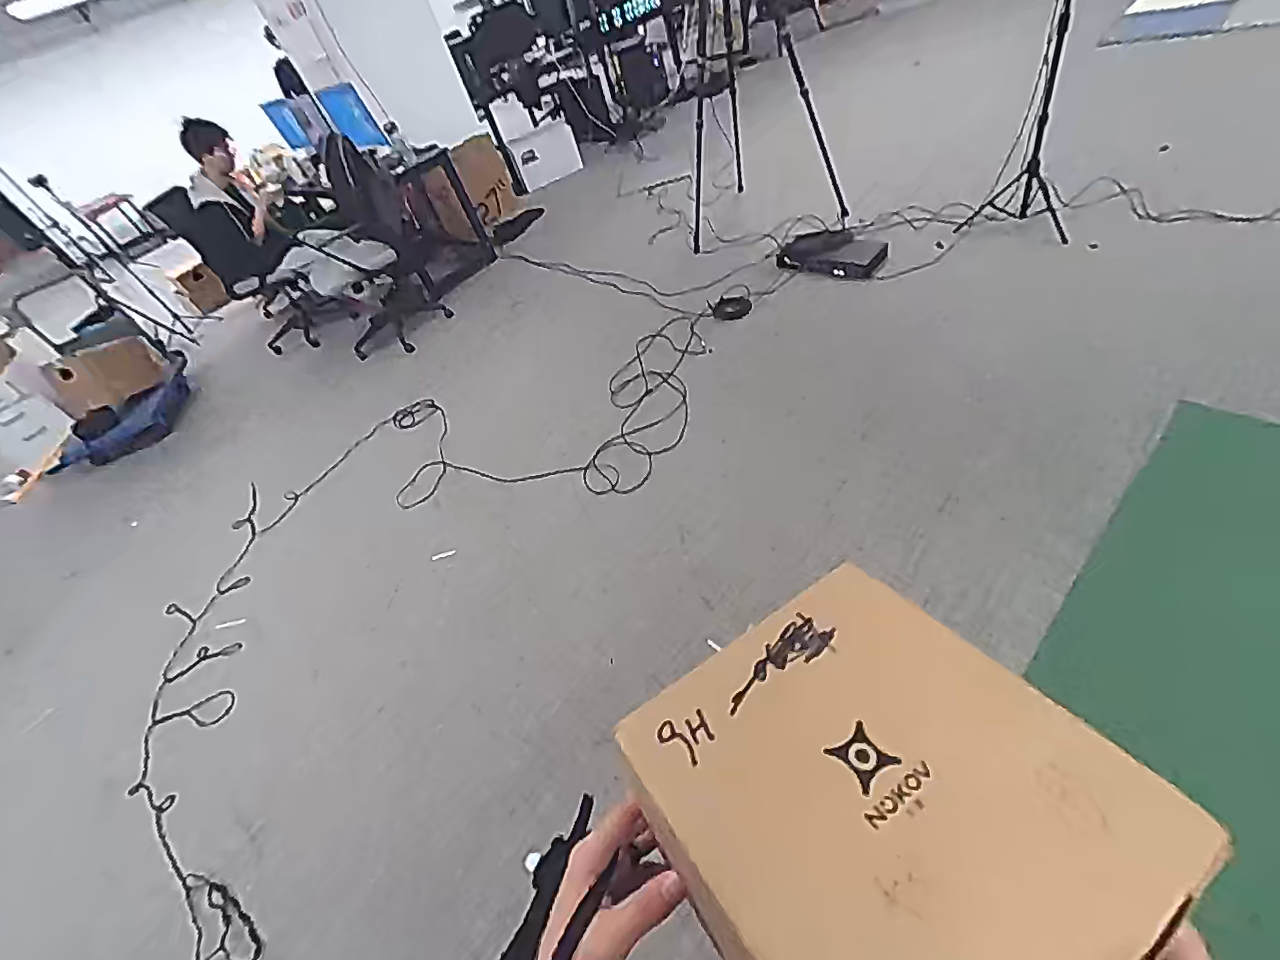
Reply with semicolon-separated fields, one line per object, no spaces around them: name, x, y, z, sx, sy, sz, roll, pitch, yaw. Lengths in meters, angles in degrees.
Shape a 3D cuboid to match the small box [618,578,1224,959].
small box;0.112;0.193;0.280;0.168;0.176;0.179;-27;41;-19
